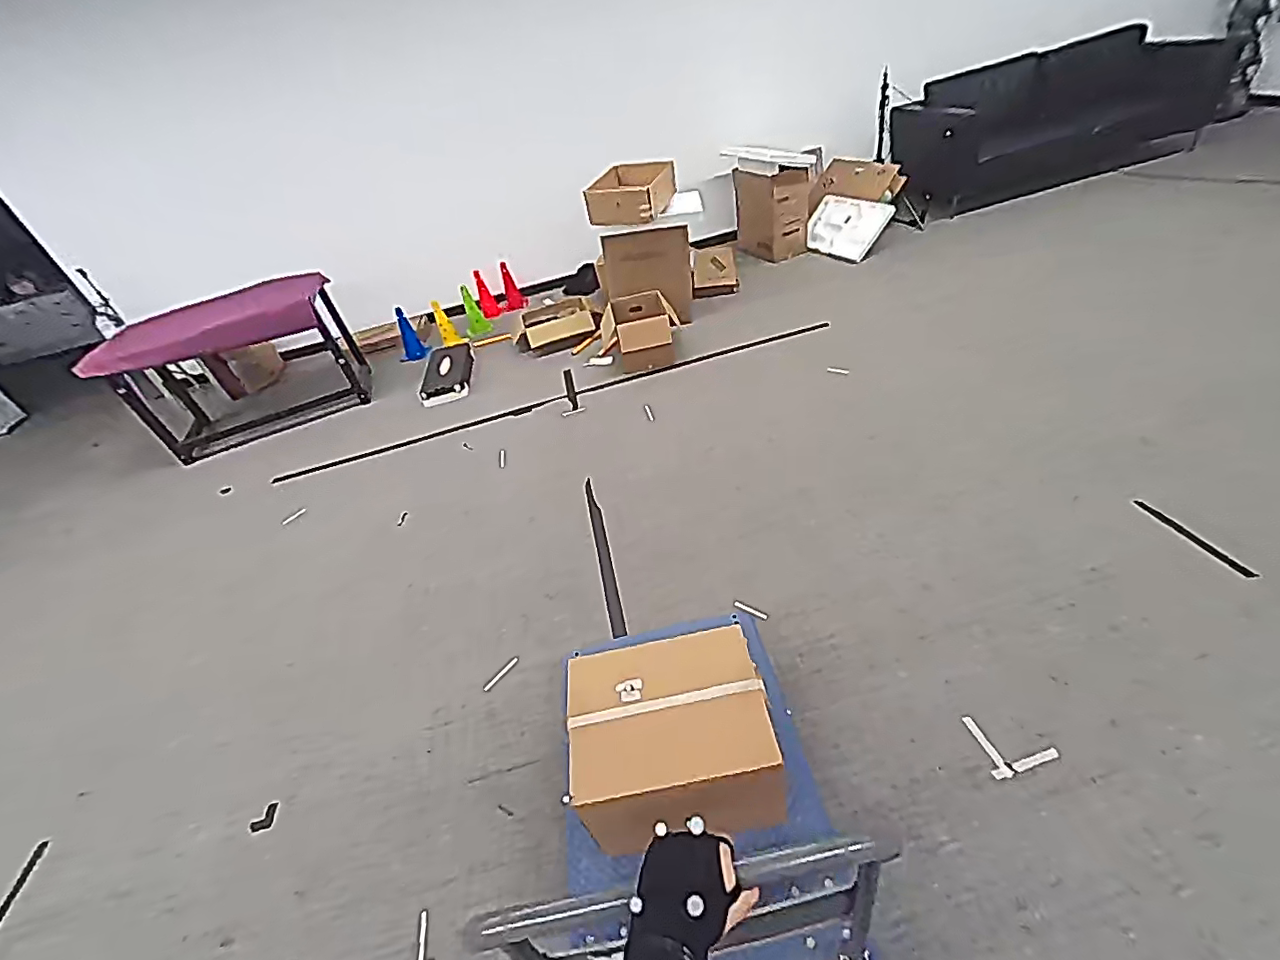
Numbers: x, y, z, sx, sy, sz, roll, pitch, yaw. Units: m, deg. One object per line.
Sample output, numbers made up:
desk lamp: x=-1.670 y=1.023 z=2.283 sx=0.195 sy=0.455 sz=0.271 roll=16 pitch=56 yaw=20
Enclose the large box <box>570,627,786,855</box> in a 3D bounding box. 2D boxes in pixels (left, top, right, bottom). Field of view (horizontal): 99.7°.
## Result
large box: x=0.082 y=0.585 z=1.216 sx=0.408 sy=0.320 sz=0.320 roll=-14 pitch=38 yaw=2
